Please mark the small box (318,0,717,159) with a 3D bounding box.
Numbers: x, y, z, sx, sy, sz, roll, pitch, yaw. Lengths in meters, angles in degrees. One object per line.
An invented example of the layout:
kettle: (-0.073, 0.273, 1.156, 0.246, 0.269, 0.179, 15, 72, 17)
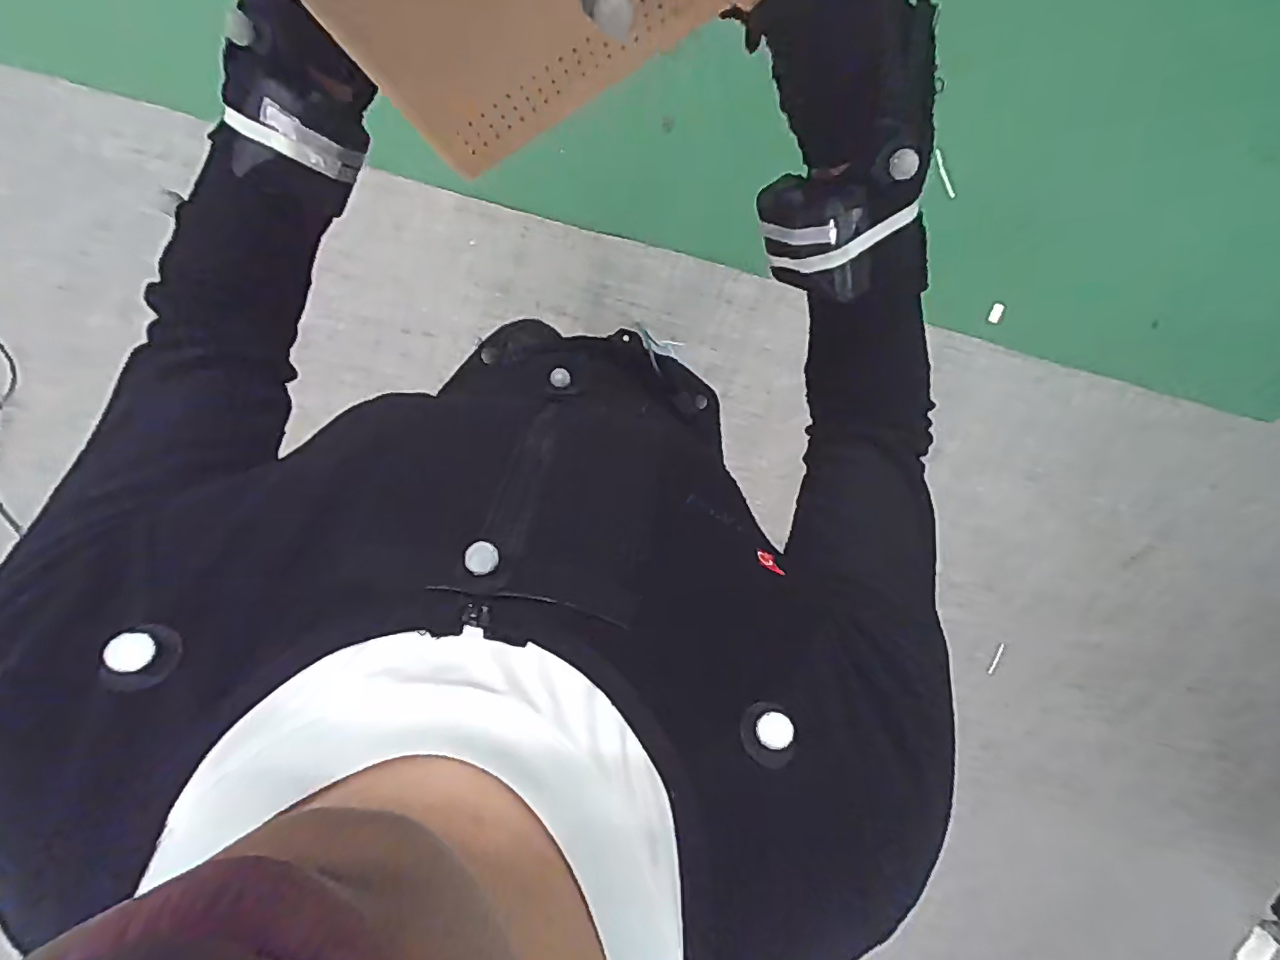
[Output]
small box: (-0.056, -0.253, 0.164, 0.179, 0.176, 0.168, -28, 82, 9)
